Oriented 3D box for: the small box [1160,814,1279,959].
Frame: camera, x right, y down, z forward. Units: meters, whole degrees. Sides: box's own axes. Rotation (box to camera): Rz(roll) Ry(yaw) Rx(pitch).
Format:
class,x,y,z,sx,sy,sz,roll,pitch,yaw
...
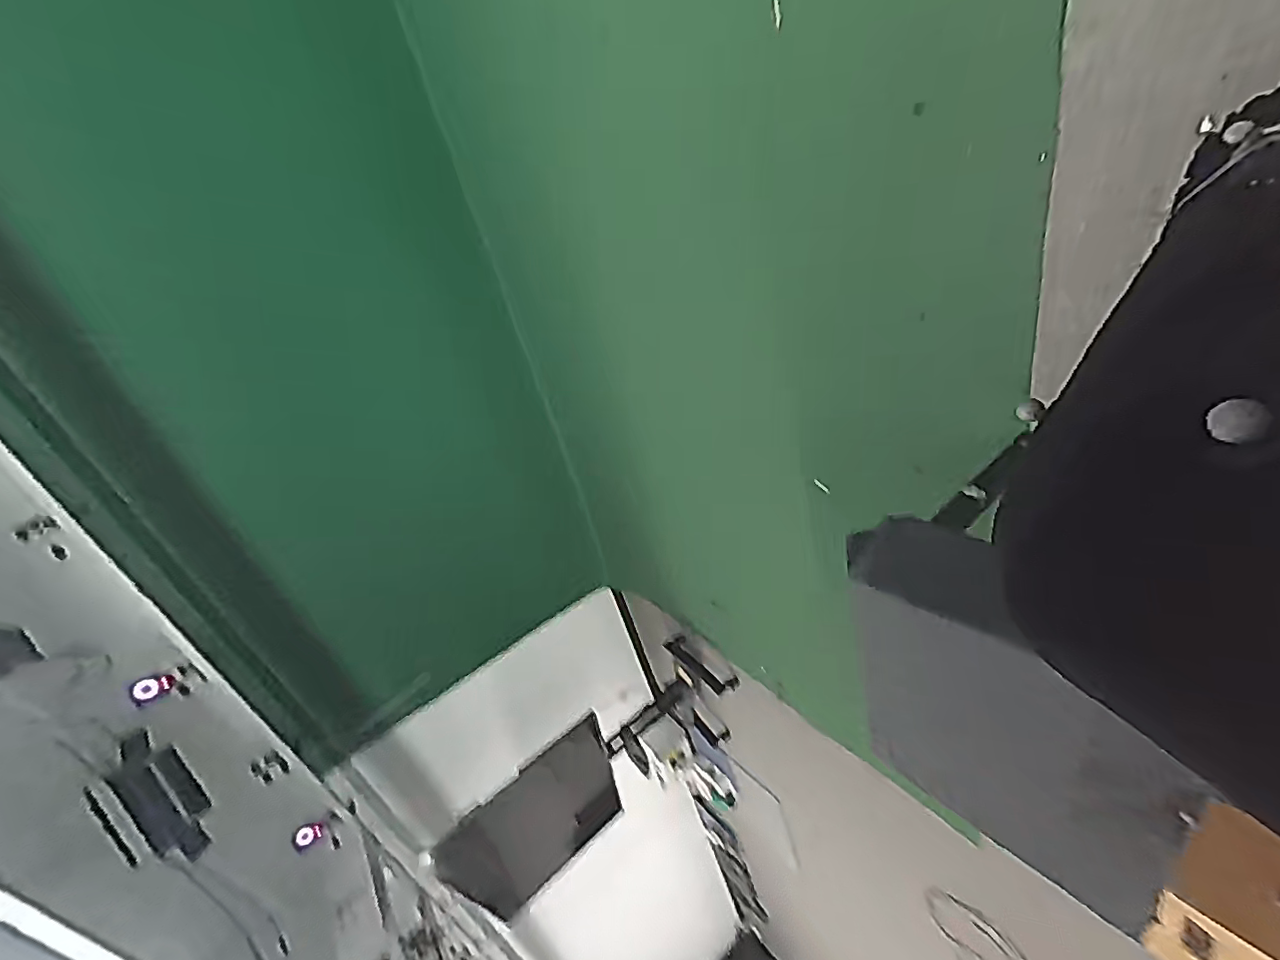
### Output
class,x,y,z,sx,sy,sz,roll,pitch,yaw
small box,0.803,0.560,0.672,0.179,0.176,0.168,22,137,54
